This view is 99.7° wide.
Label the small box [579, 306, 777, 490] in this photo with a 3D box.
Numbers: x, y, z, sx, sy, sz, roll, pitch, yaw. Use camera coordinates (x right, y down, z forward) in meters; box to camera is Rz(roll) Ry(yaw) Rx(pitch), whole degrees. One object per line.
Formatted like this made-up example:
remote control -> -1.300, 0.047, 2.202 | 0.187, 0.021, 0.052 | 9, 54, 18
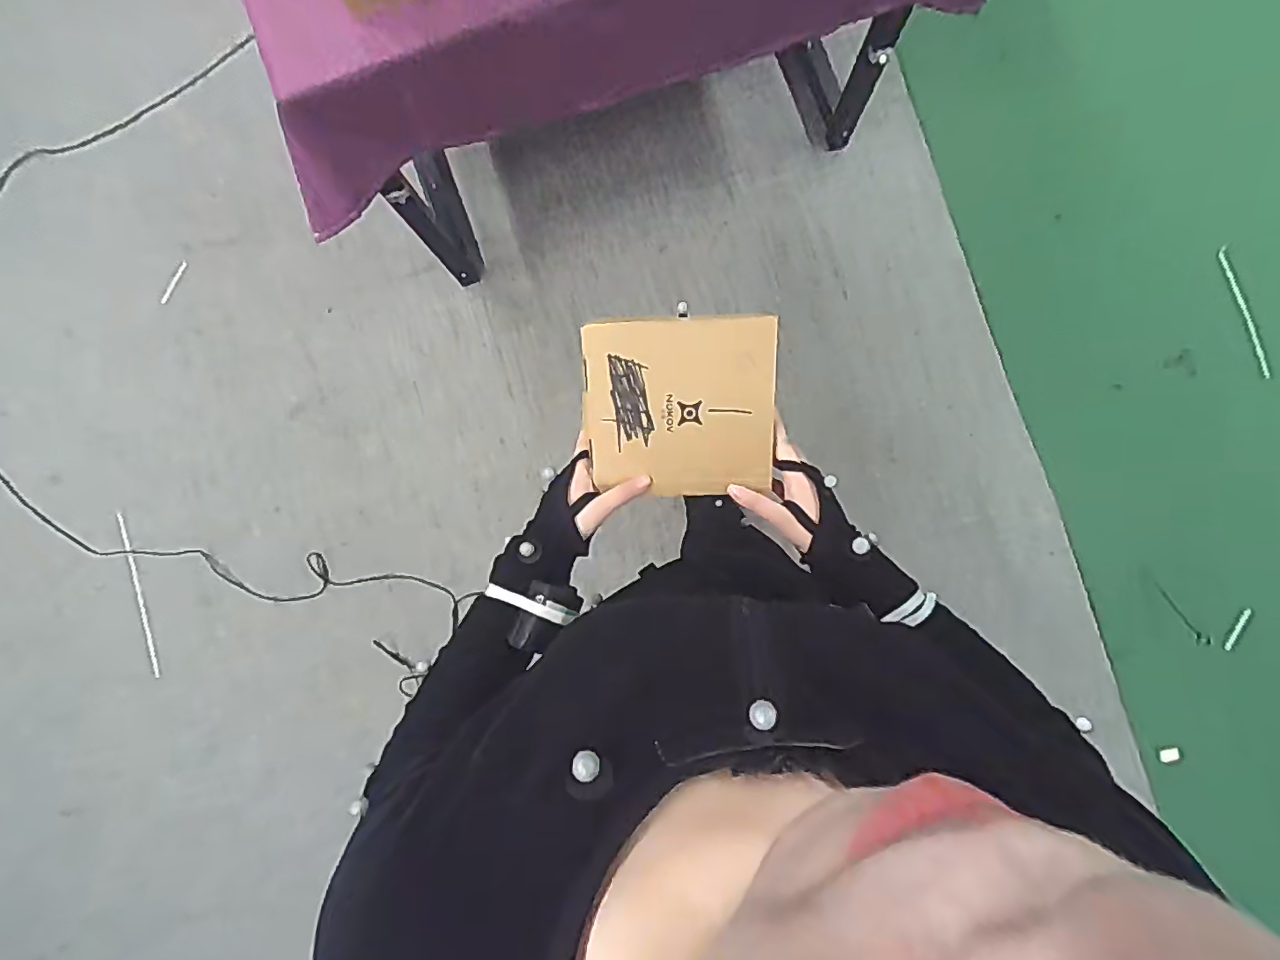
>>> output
small box -> 0.037, -0.094, 0.571 | 0.179, 0.176, 0.168 | -2, 108, 1
